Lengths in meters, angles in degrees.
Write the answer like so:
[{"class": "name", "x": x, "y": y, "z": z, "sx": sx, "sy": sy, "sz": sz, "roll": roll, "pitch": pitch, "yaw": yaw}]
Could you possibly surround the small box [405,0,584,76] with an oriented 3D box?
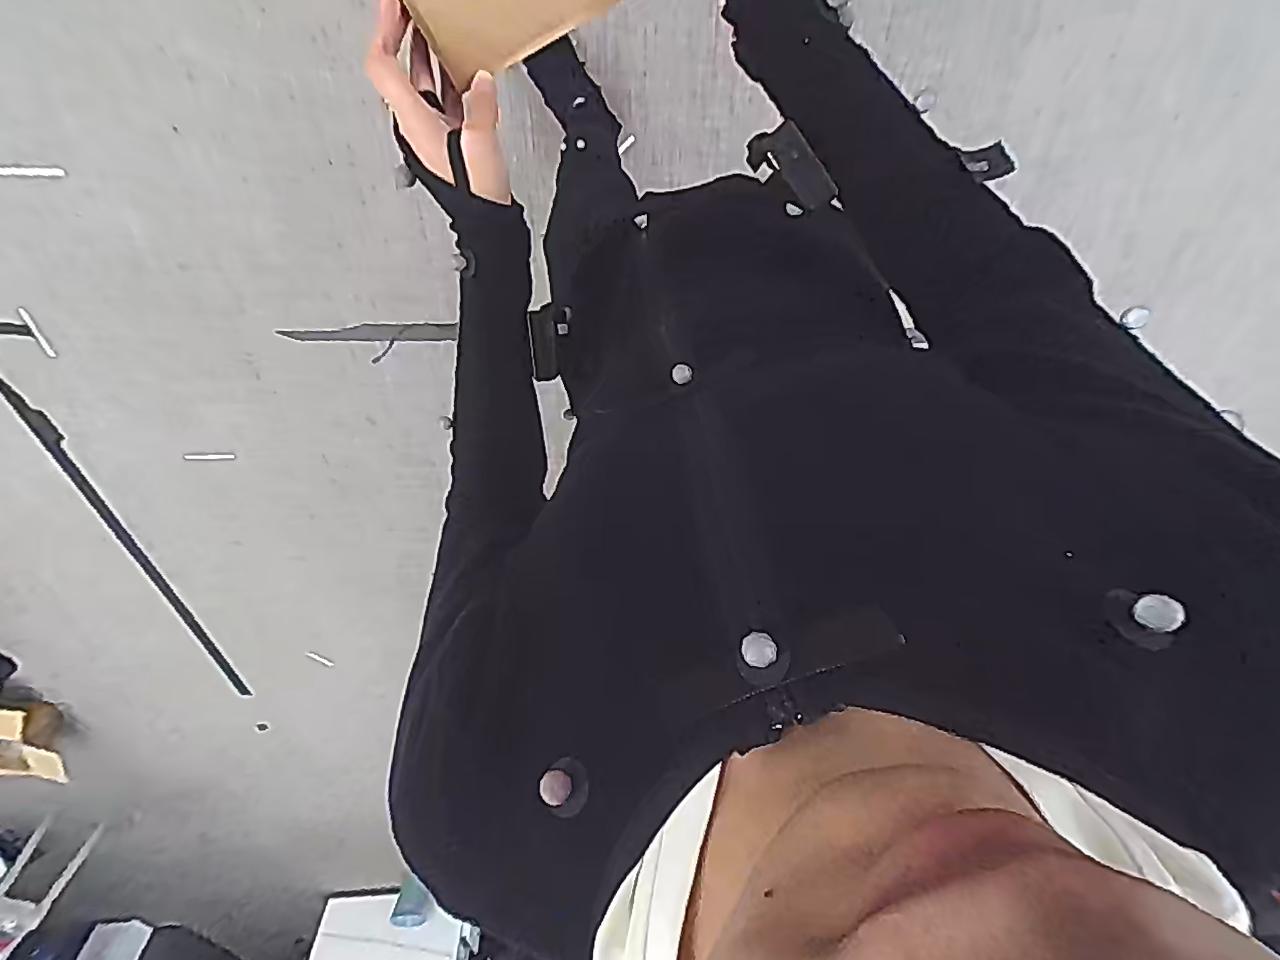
[{"class": "small box", "x": -0.095, "y": -0.420, "z": 0.350, "sx": 0.179, "sy": 0.176, "sz": 0.168, "roll": -18, "pitch": 143, "yaw": 15}]
